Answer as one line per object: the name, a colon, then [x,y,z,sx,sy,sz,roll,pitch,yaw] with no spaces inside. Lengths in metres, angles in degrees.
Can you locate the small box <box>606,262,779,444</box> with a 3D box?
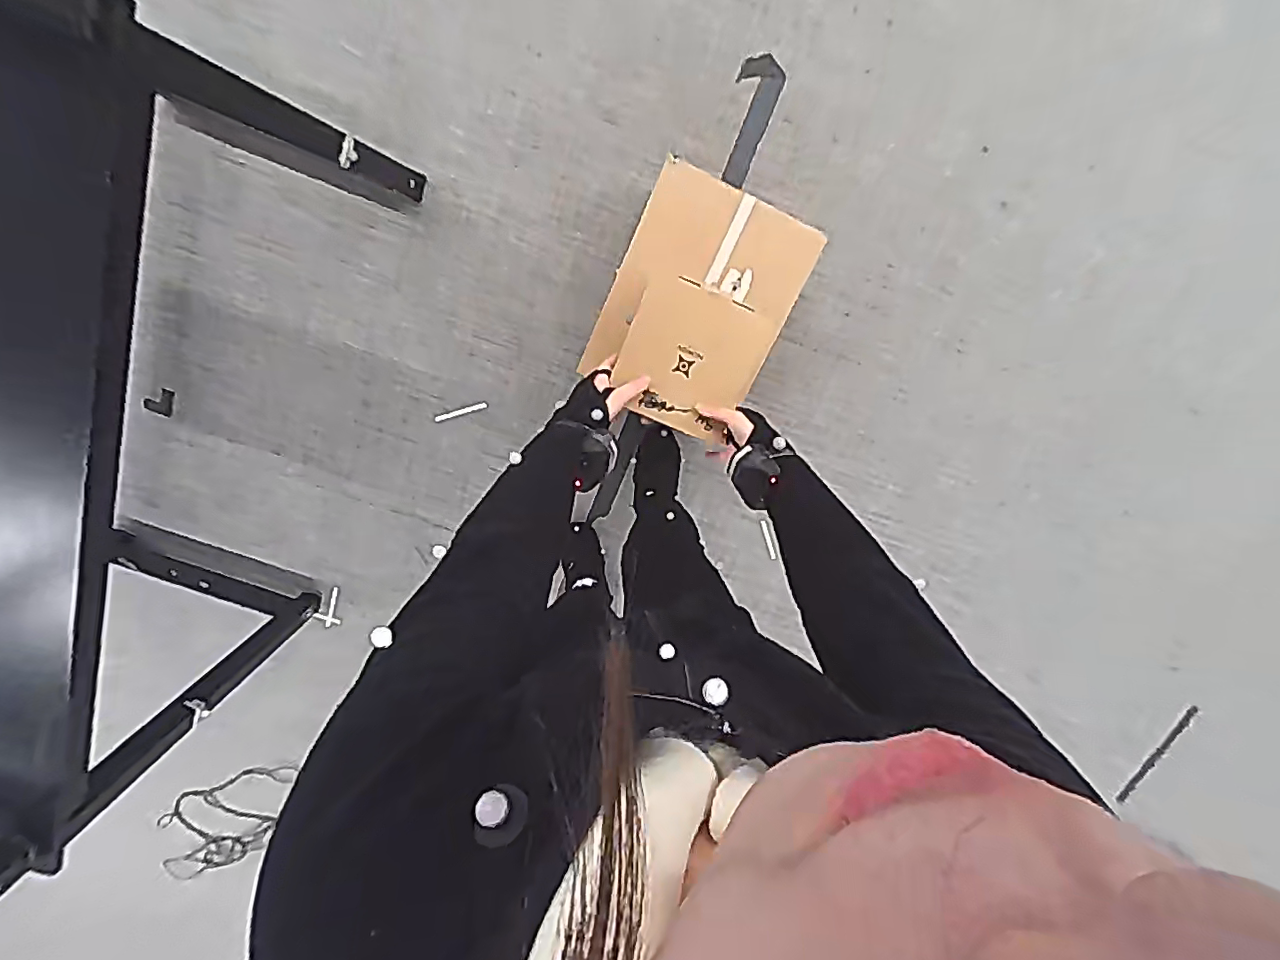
small box: [0.064,-0.175,0.747,0.168,0.176,0.179,23,106,-5]

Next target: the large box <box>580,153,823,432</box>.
large box: [0.103,-0.359,1.116,0.320,0.320,0.408,24,106,-8]
